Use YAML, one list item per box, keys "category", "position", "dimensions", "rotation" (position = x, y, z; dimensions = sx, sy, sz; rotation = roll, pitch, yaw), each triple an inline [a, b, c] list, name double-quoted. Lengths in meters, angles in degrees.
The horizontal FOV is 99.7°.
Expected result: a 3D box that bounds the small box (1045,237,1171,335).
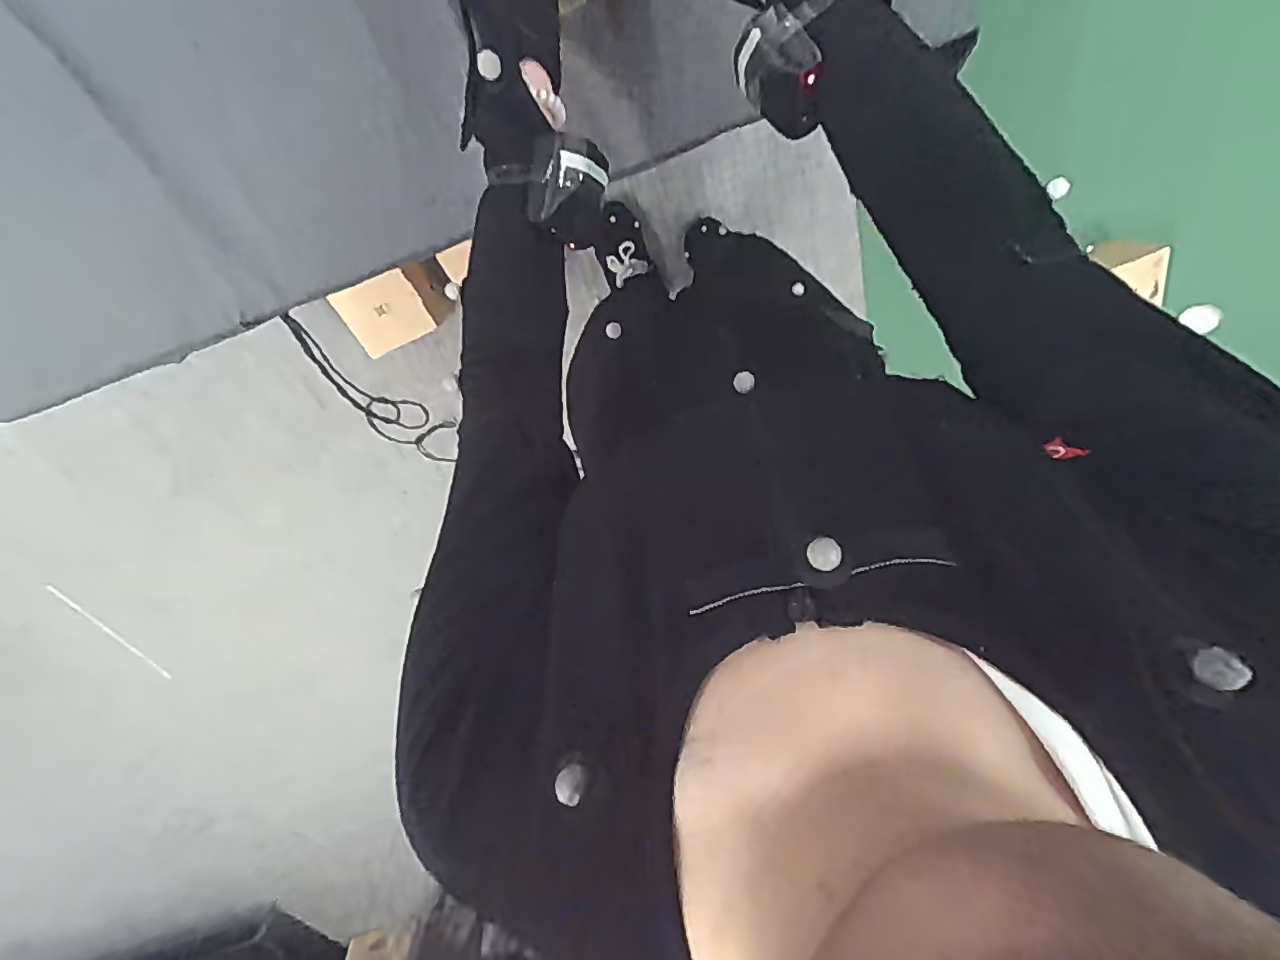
- category: "small box"
  position: [1.170, -0.494, 1.370]
  dimensions: [0.179, 0.176, 0.168]
  rotation: [-19, 122, 7]
